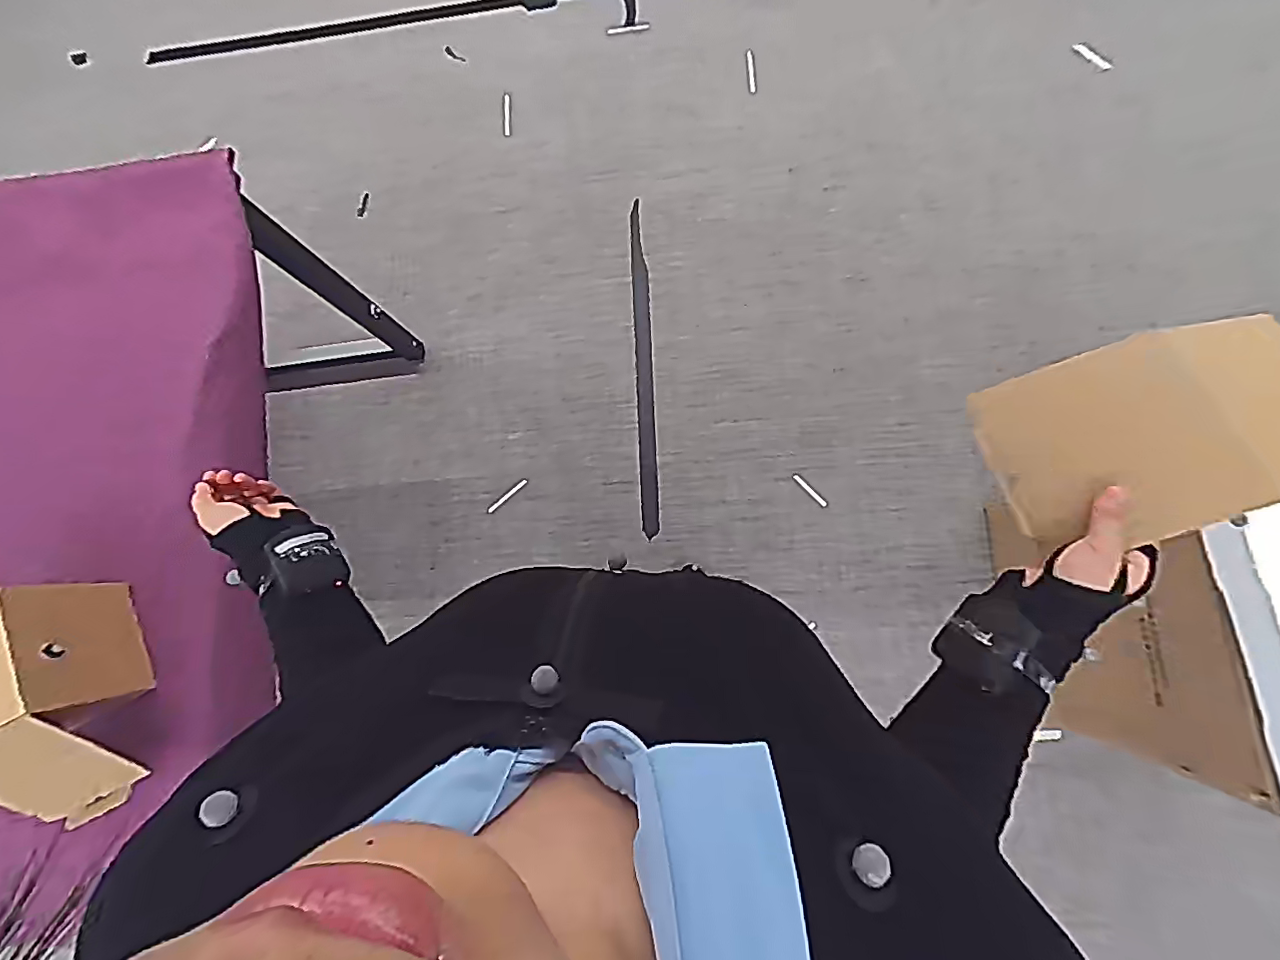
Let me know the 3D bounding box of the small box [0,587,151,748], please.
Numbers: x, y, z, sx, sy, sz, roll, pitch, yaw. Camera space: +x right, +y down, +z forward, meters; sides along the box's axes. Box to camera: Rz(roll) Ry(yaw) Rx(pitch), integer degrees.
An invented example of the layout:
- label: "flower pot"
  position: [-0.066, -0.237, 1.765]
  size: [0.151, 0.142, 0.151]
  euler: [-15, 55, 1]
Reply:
- label: "small box"
  position: [-0.849, 0.262, 0.760]
  size: [0.168, 0.176, 0.179]
  euler: [-27, 78, 0]
